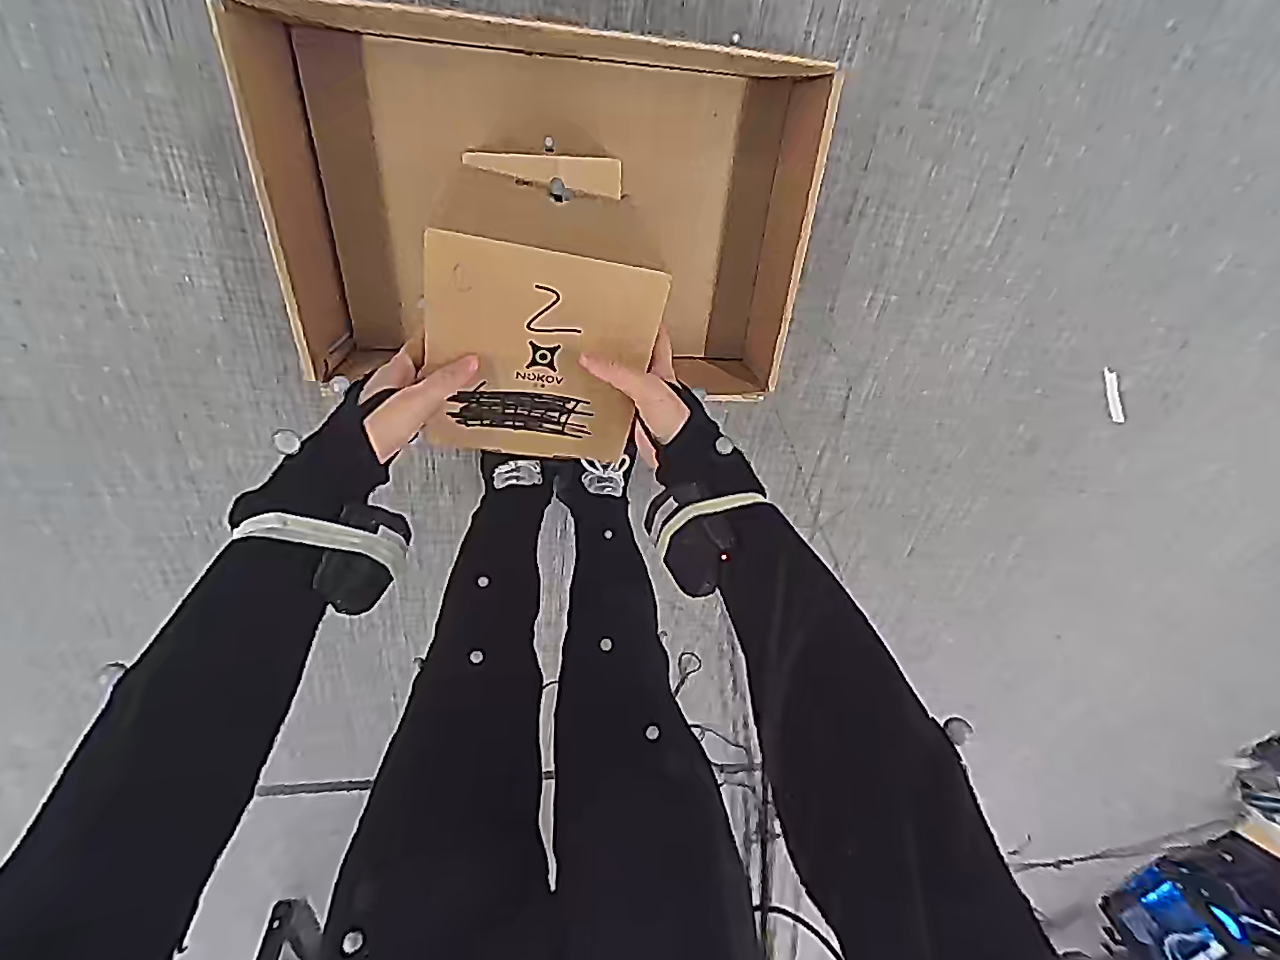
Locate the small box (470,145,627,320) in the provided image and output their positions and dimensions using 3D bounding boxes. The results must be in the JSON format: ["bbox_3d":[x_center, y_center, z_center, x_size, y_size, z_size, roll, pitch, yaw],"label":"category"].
[{"bbox_3d":[-0.111,-0.310,0.672,0.168,0.176,0.179,-2,123,-8],"label":"small box"}]
